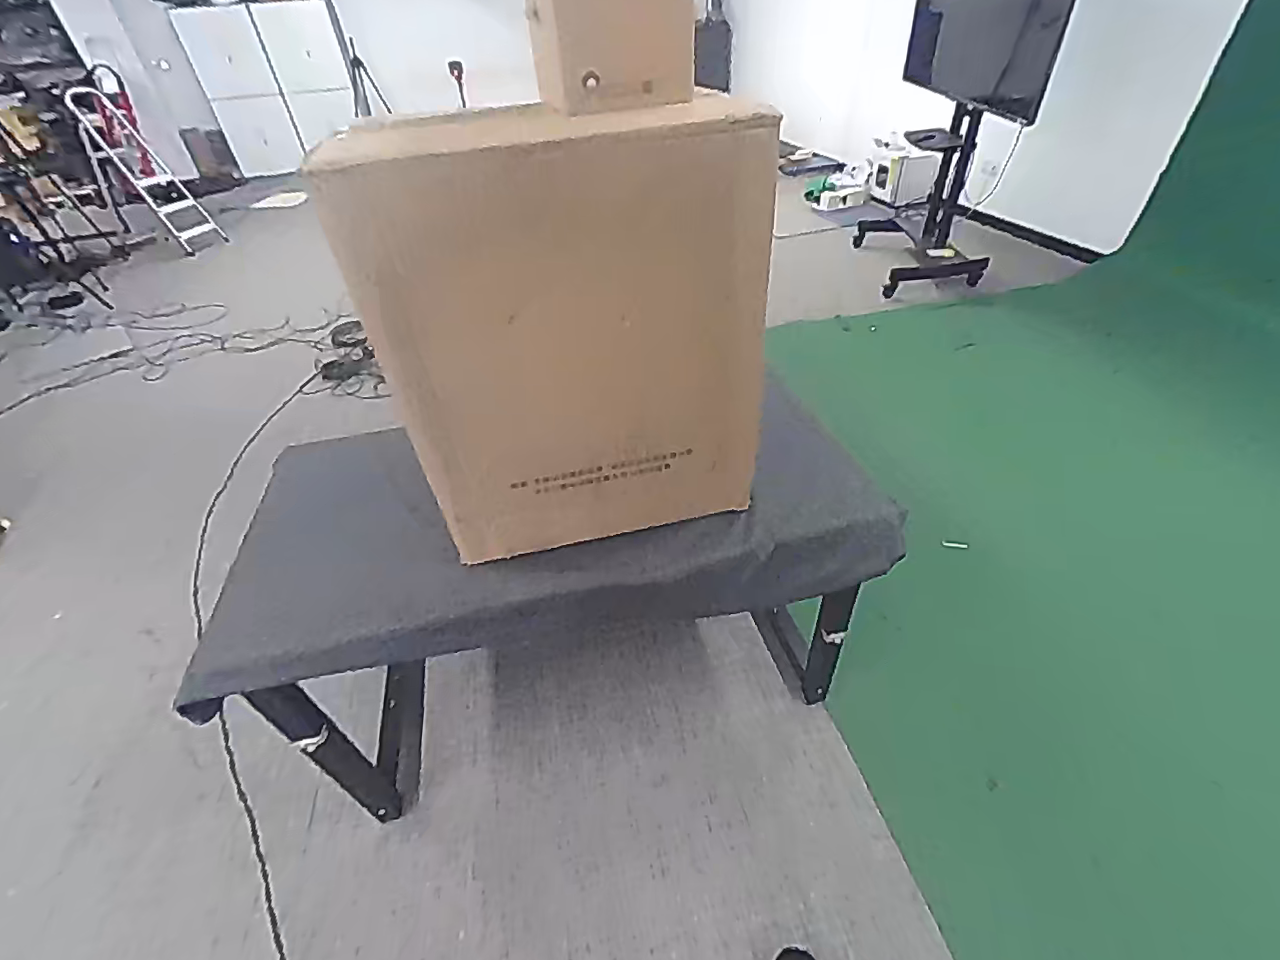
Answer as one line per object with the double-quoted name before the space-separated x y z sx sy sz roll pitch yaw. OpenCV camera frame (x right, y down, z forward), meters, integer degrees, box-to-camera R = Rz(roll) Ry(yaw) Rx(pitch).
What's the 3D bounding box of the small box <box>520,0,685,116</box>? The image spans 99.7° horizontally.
"small box" -0.048 -0.563 0.666 0.168 0.176 0.179 -16 43 -11
